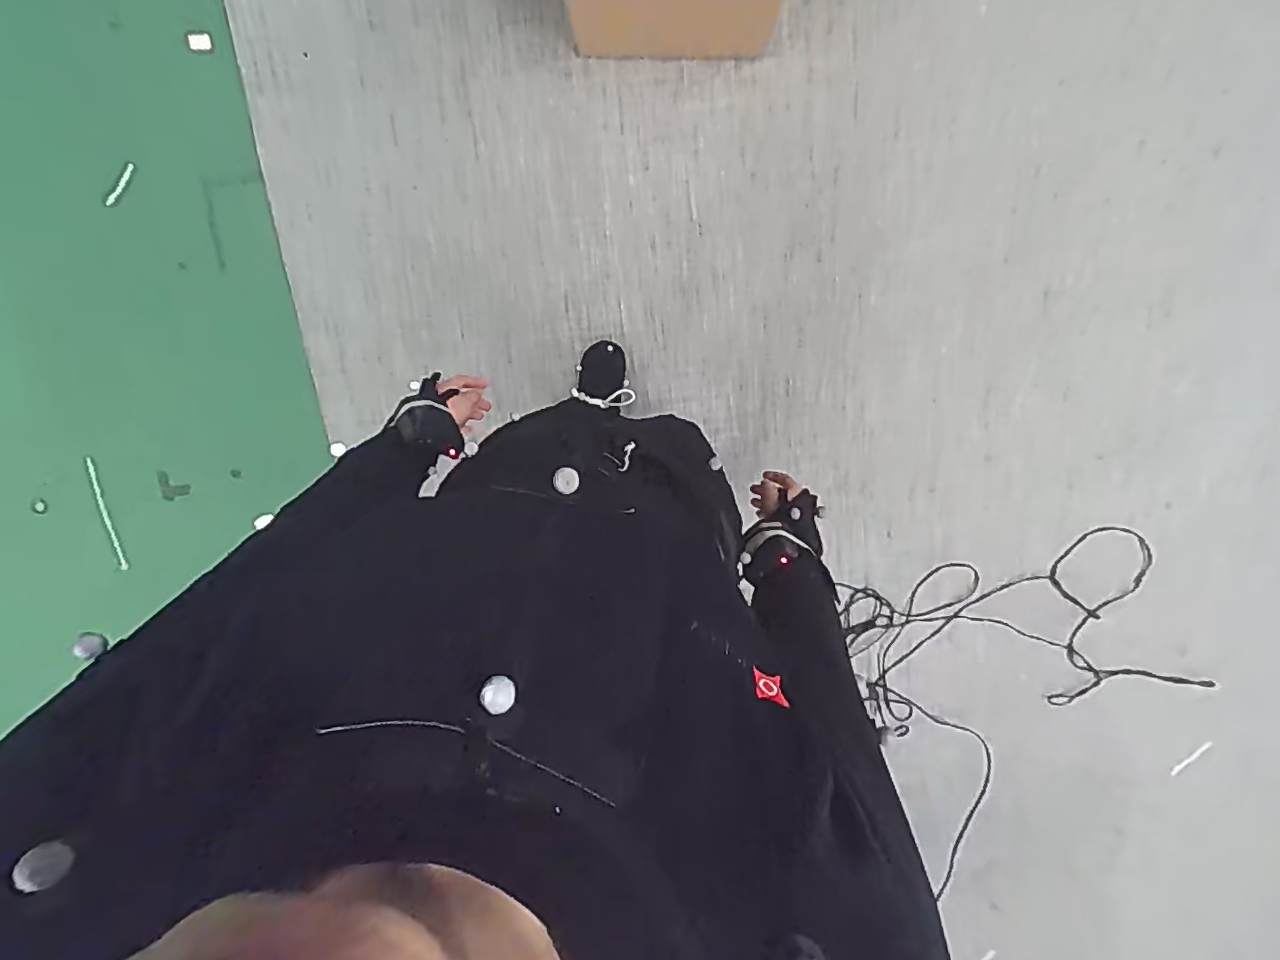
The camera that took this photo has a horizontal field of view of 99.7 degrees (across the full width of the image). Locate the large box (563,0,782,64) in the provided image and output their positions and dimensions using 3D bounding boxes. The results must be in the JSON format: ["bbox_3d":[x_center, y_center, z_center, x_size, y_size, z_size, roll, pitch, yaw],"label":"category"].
[{"bbox_3d":[0.056,-1.011,0.982,0.408,0.320,0.320,0,104,0],"label":"large box"}]
